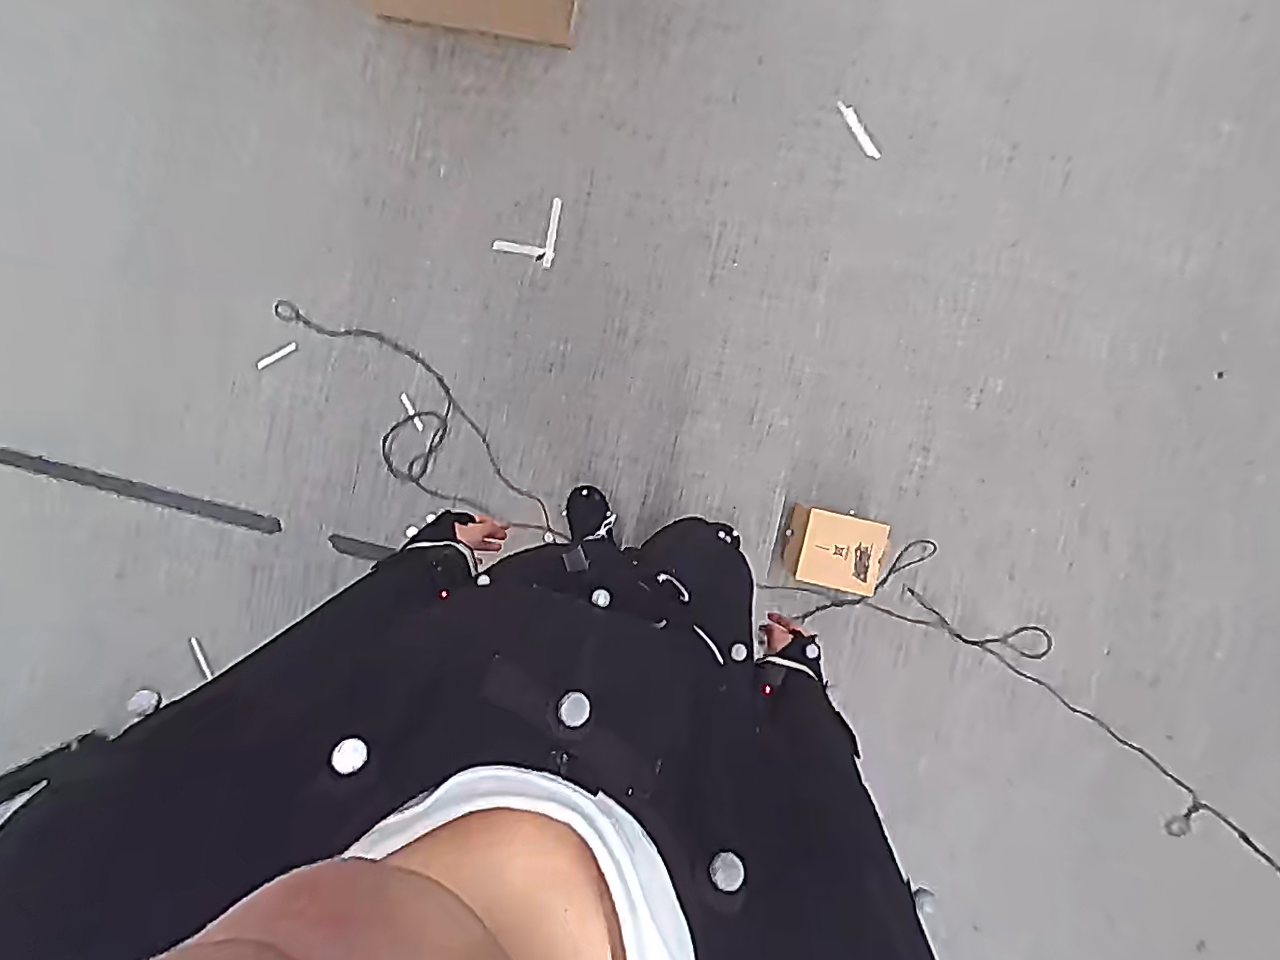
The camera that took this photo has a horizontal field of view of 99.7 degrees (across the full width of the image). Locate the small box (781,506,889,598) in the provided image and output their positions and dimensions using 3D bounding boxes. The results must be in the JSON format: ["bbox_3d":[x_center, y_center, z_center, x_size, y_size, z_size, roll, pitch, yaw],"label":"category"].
[{"bbox_3d":[0.449,0.160,1.268,0.179,0.176,0.168,13,92,4],"label":"small box"}]
